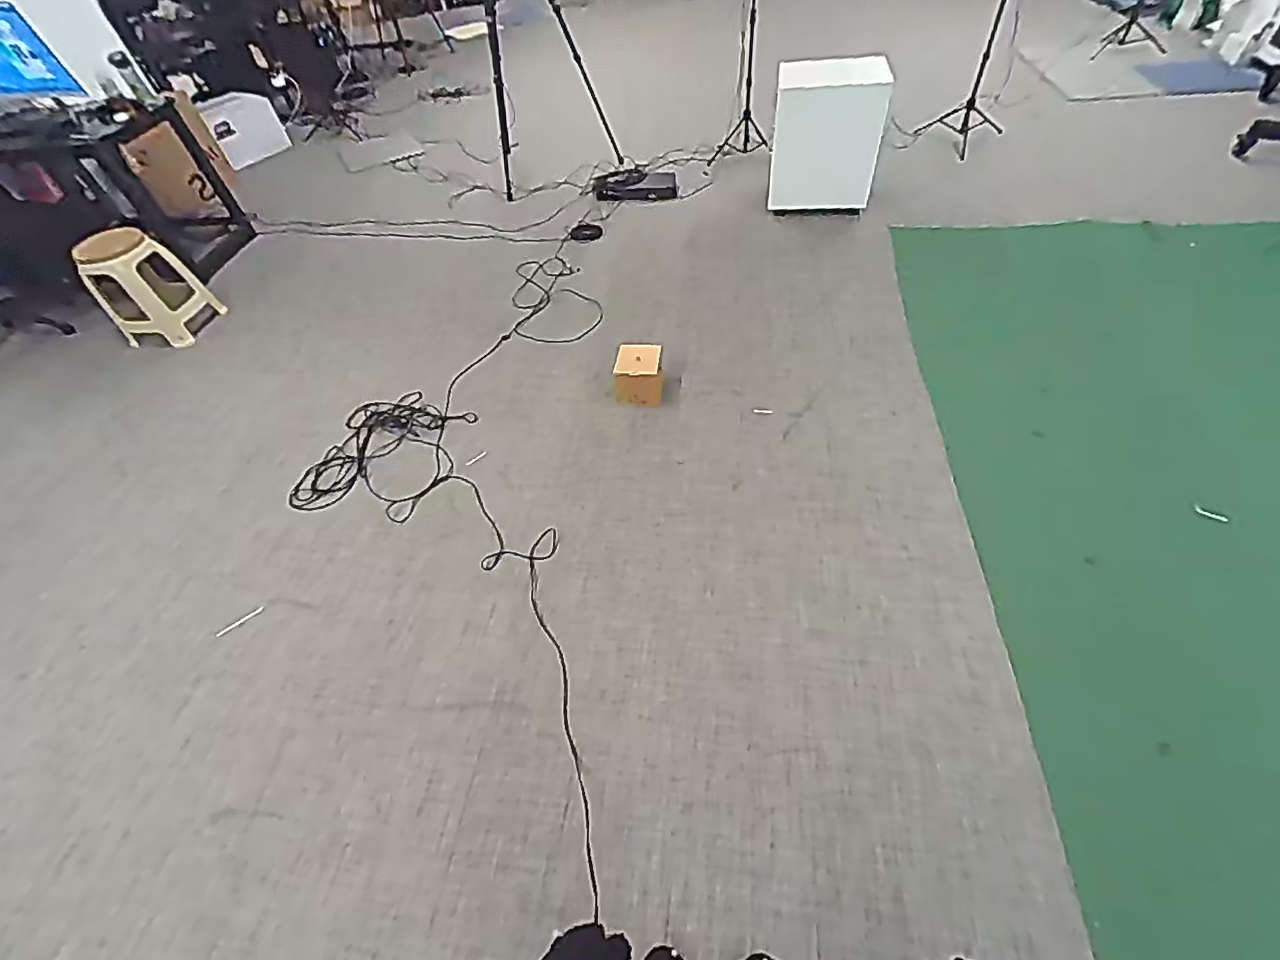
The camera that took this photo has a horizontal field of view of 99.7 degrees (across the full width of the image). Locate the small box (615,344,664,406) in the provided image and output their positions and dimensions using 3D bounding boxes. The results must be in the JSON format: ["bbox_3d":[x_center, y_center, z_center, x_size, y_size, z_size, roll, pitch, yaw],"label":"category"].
[{"bbox_3d":[0.004,-0.414,2.129,0.168,0.176,0.179,2,52,9],"label":"small box"}]
